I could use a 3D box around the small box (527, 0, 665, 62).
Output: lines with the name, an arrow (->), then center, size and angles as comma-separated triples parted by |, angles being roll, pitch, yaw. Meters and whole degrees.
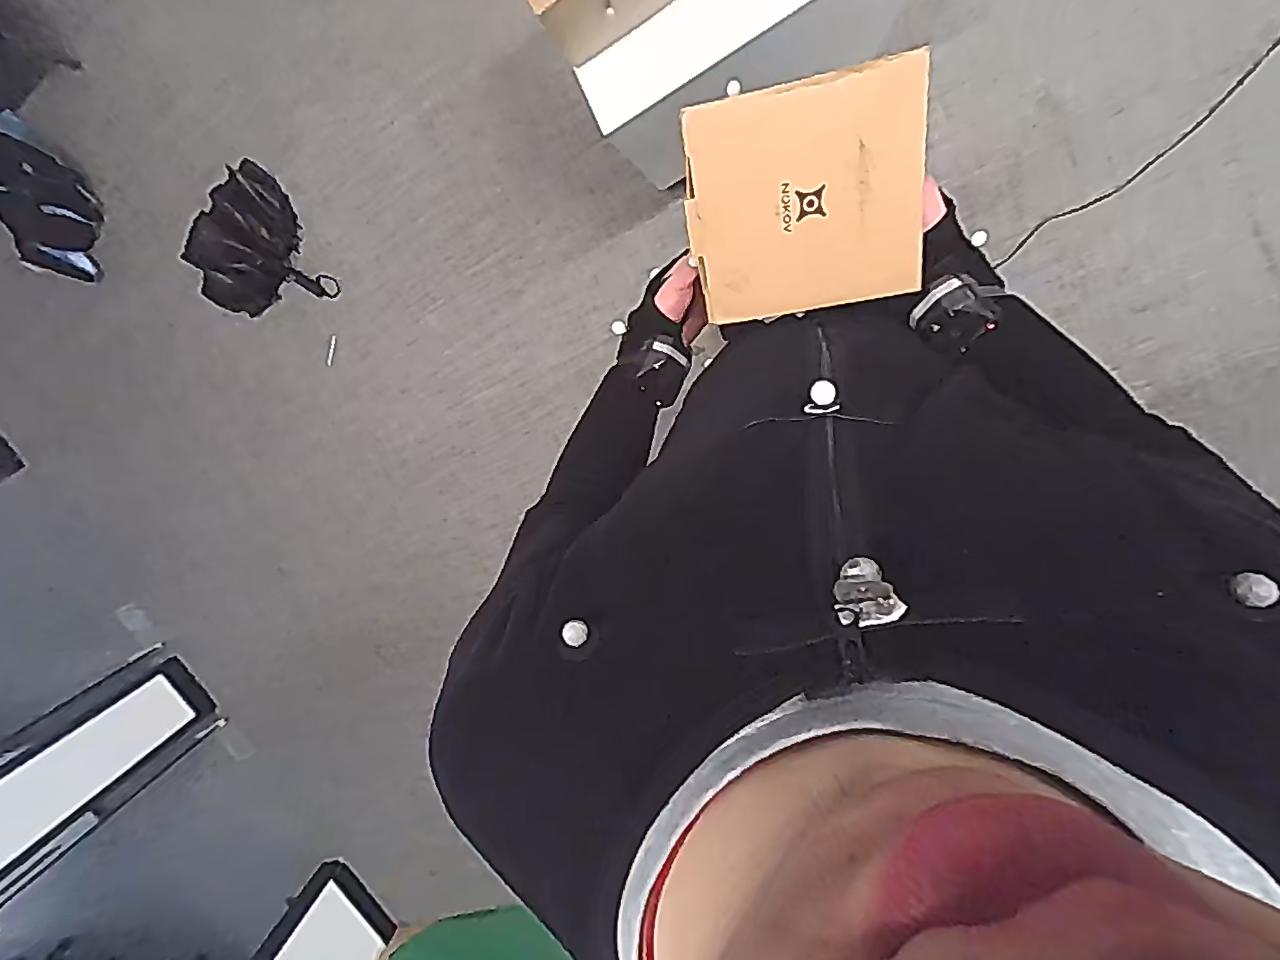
small box -> -0.069, -0.677, 0.671 | 0.179, 0.176, 0.168 | -22, 104, 18
